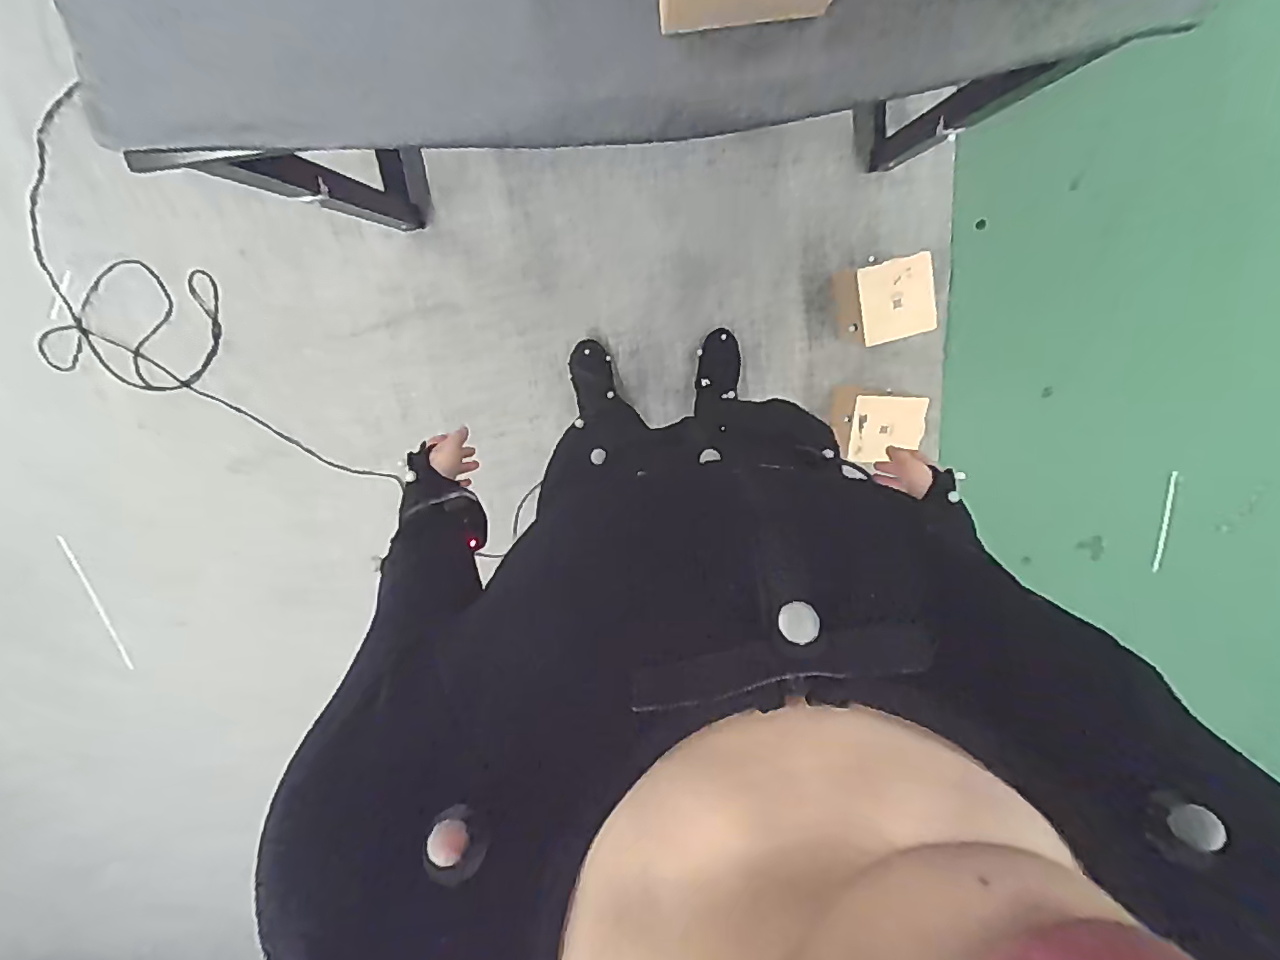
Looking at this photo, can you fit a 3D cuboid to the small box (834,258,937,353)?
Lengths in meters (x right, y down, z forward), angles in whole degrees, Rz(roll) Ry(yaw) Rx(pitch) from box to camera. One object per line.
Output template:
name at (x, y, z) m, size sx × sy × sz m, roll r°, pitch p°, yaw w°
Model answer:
small box at (0.577, -0.414, 1.282) m, size 0.168 × 0.176 × 0.179 m, roll -14°, pitch 107°, yaw 4°

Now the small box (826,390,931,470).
small box at (0.596, -0.132, 1.373) m, size 0.179 × 0.176 × 0.168 m, roll 3°, pitch 109°, yaw 0°
